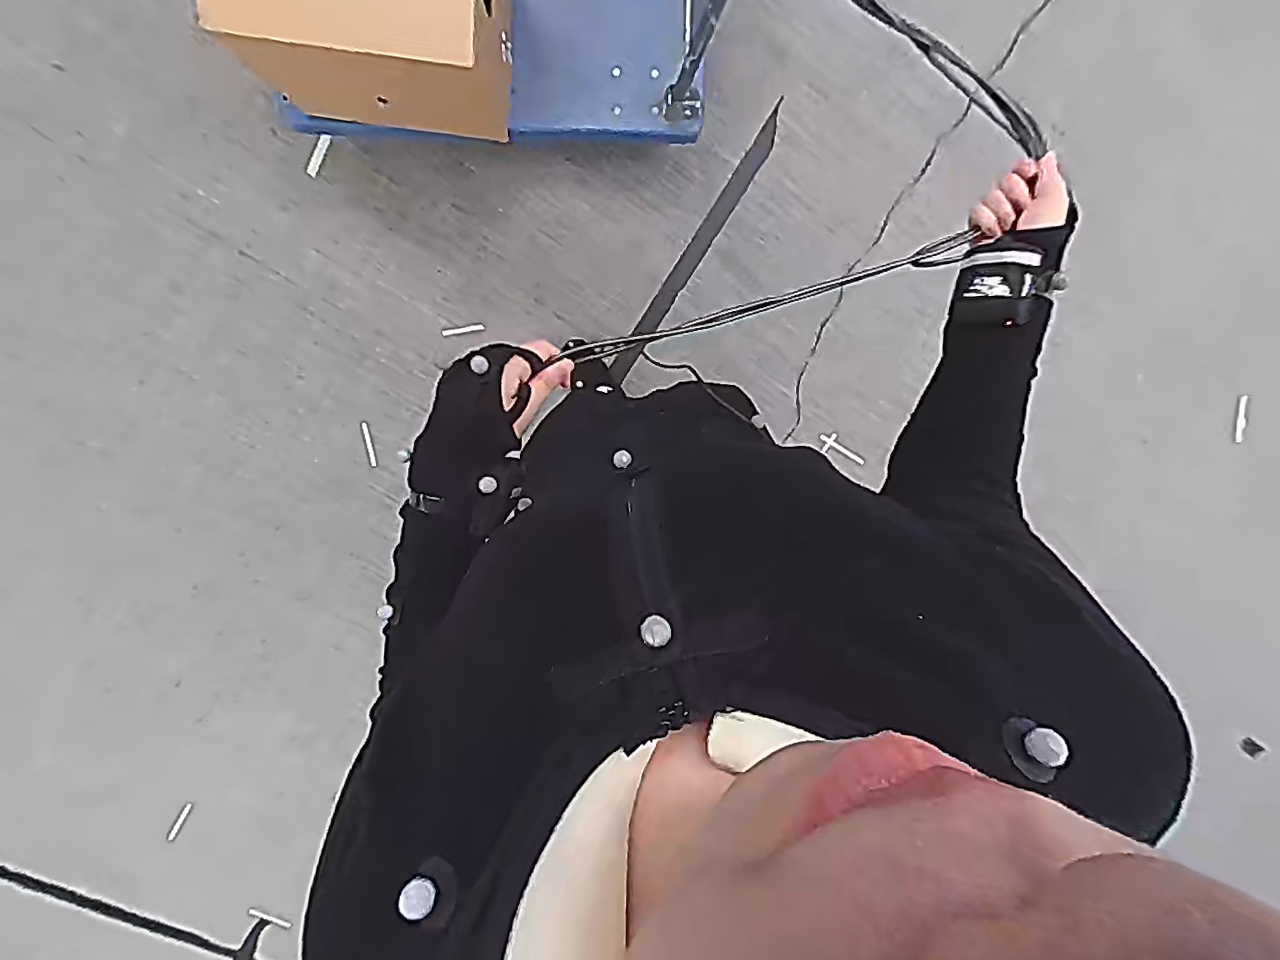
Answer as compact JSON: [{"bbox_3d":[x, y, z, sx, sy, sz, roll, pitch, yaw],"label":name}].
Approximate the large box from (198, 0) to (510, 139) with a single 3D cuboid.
[{"bbox_3d":[-0.449,-0.825,0.927,0.408,0.320,0.320,5,102,-4],"label":"large box"}]
